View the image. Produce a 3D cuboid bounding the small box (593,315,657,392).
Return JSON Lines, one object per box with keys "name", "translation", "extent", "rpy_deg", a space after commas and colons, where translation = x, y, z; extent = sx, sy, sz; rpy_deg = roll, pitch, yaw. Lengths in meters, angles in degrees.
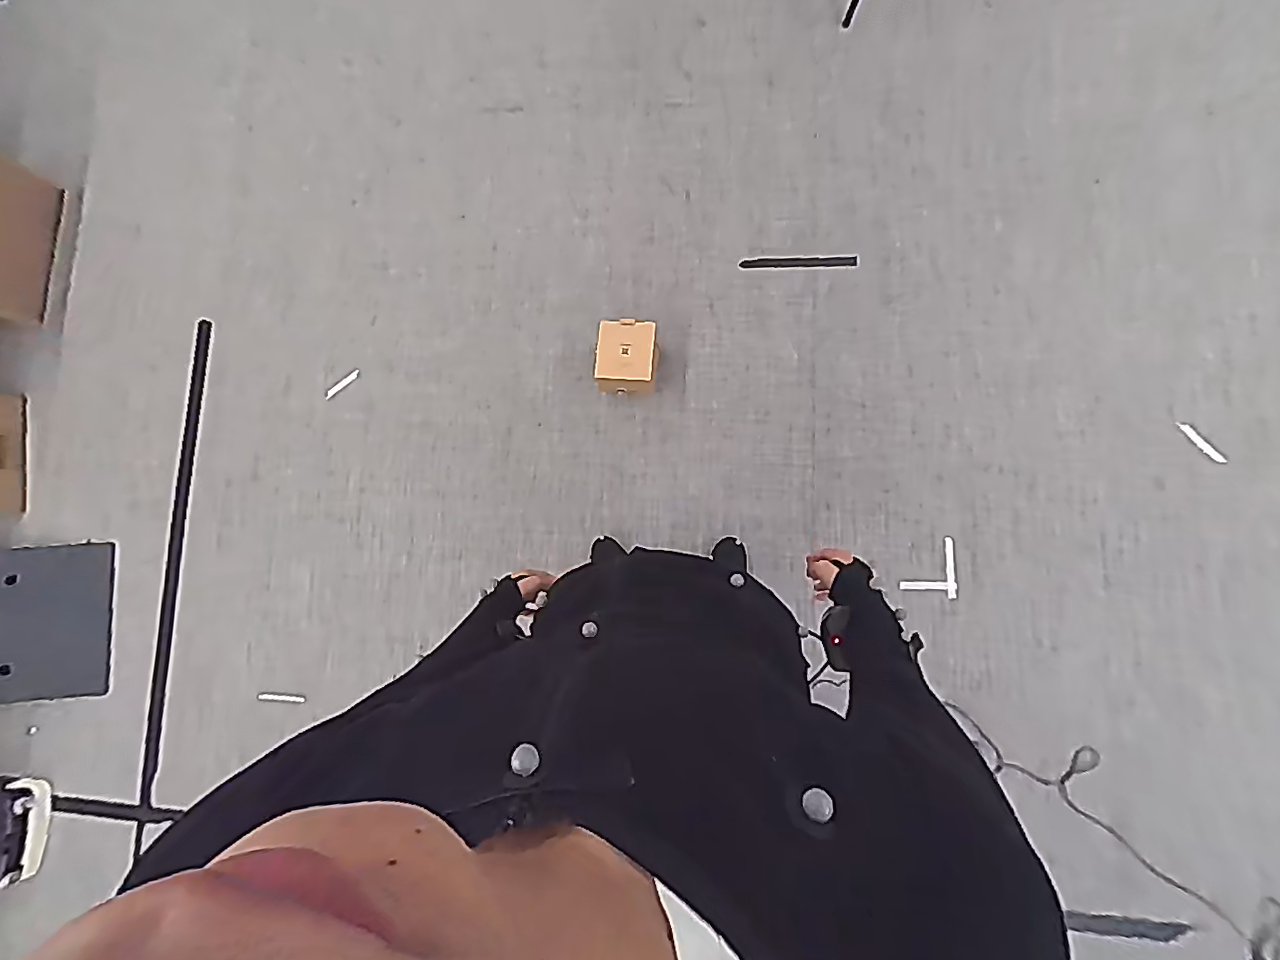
{"name": "small box", "translation": [-0.040, -0.375, 1.621], "extent": [0.168, 0.176, 0.179], "rpy_deg": [4, 84, 7]}
